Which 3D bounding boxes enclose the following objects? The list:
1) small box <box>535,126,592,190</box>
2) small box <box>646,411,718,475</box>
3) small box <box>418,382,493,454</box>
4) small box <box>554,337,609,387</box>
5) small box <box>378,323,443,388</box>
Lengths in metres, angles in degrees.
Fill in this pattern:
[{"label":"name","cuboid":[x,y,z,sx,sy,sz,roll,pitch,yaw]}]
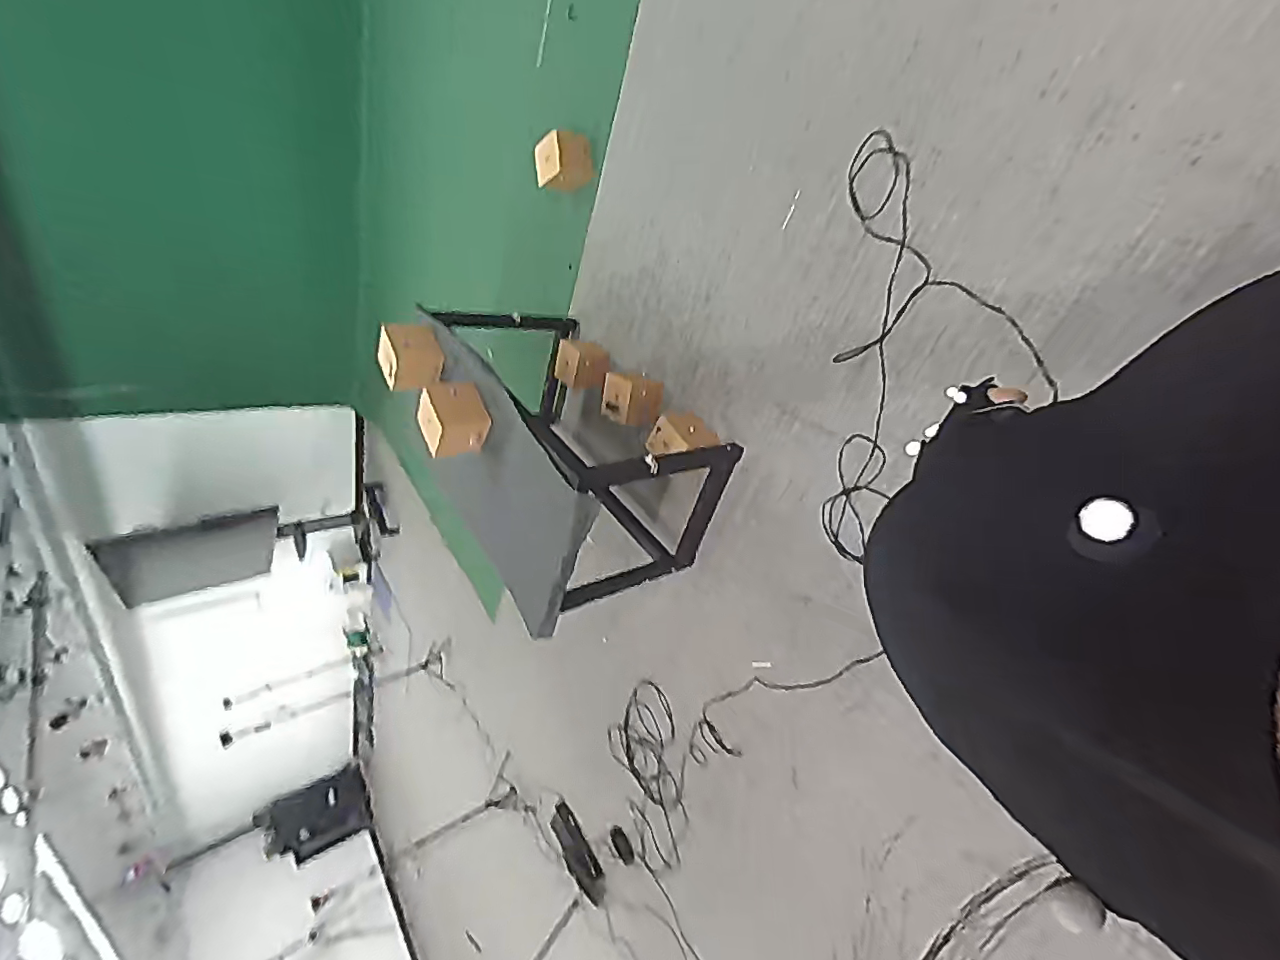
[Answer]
[{"label":"small box","cuboid":[-0.327,-1.372,2.322,0.179,0.176,0.168,0,98,49]},{"label":"small box","cuboid":[0.160,-0.147,2.032,0.179,0.176,0.168,54,134,25]},{"label":"small box","cuboid":[-0.611,-0.210,1.785,0.179,0.176,0.168,59,139,20]},{"label":"small box","cuboid":[-0.261,-0.531,2.430,0.168,0.176,0.179,40,126,38]},{"label":"small box","cuboid":[-0.841,-0.462,1.987,0.179,0.176,0.168,60,139,19]}]
